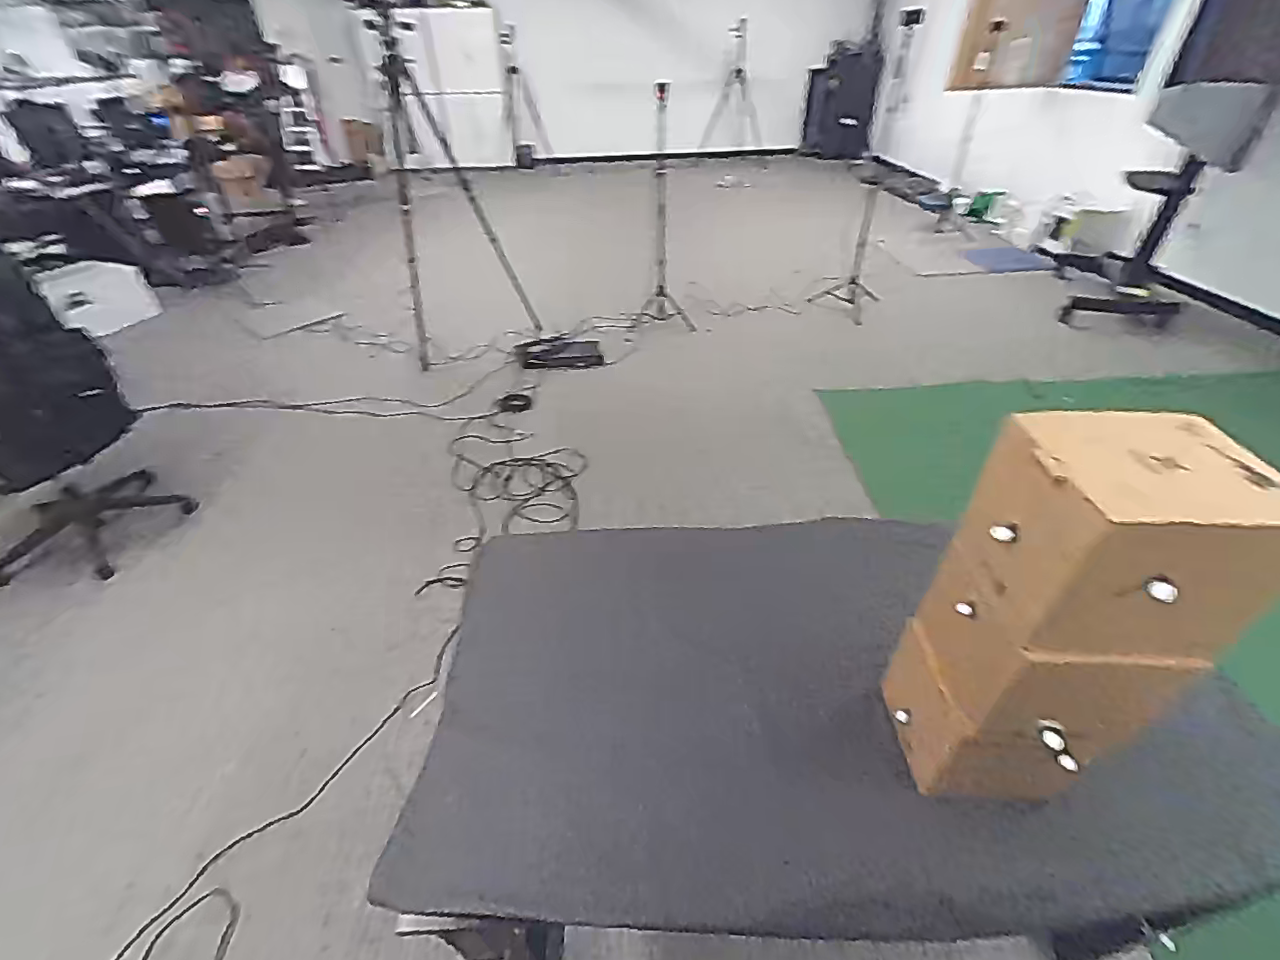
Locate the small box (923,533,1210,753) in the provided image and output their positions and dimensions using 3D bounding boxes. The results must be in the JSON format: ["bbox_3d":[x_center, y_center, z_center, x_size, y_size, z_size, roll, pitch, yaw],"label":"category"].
[{"bbox_3d":[0.450,0.181,0.615,0.168,0.176,0.179,0,40,5],"label":"small box"}]

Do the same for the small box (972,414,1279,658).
[{"bbox_3d":[0.447,0.051,0.514,0.179,0.176,0.168,1,39,6],"label":"small box"}]

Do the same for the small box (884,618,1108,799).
[{"bbox_3d":[0.455,0.303,0.721,0.179,0.176,0.168,0,38,2],"label":"small box"}]
